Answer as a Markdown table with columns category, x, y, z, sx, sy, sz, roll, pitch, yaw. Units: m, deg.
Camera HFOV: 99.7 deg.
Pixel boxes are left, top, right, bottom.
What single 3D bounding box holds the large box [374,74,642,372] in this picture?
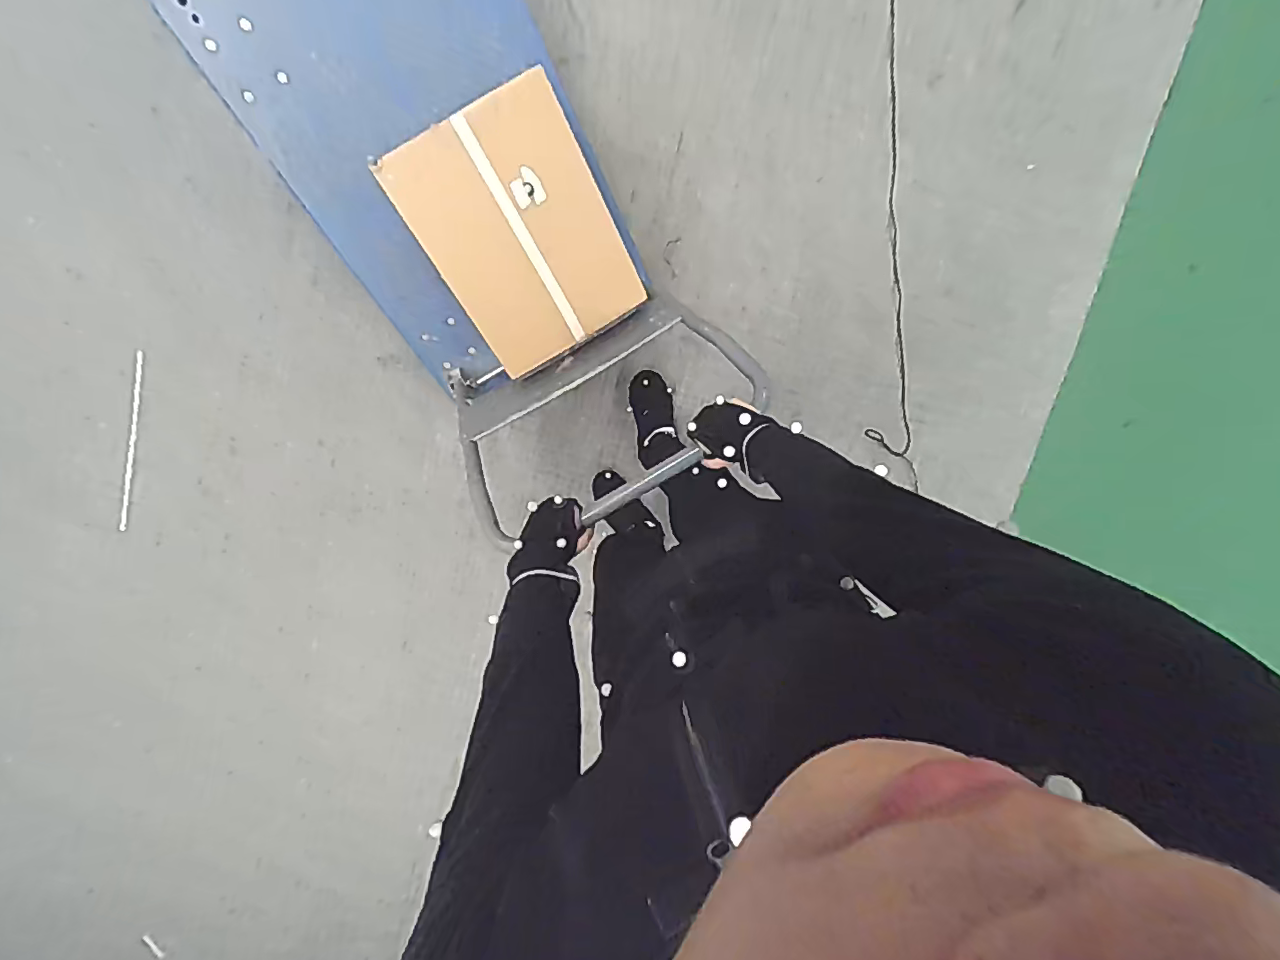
| category | x | y | z | sx | sy | sz | roll | pitch | yaw |
| --- | --- | --- | --- | --- | --- | --- | --- | --- | --- |
| large box | -0.249 | -0.498 | 1.089 | 0.320 | 0.320 | 0.408 | -31 | 123 | -1 |
